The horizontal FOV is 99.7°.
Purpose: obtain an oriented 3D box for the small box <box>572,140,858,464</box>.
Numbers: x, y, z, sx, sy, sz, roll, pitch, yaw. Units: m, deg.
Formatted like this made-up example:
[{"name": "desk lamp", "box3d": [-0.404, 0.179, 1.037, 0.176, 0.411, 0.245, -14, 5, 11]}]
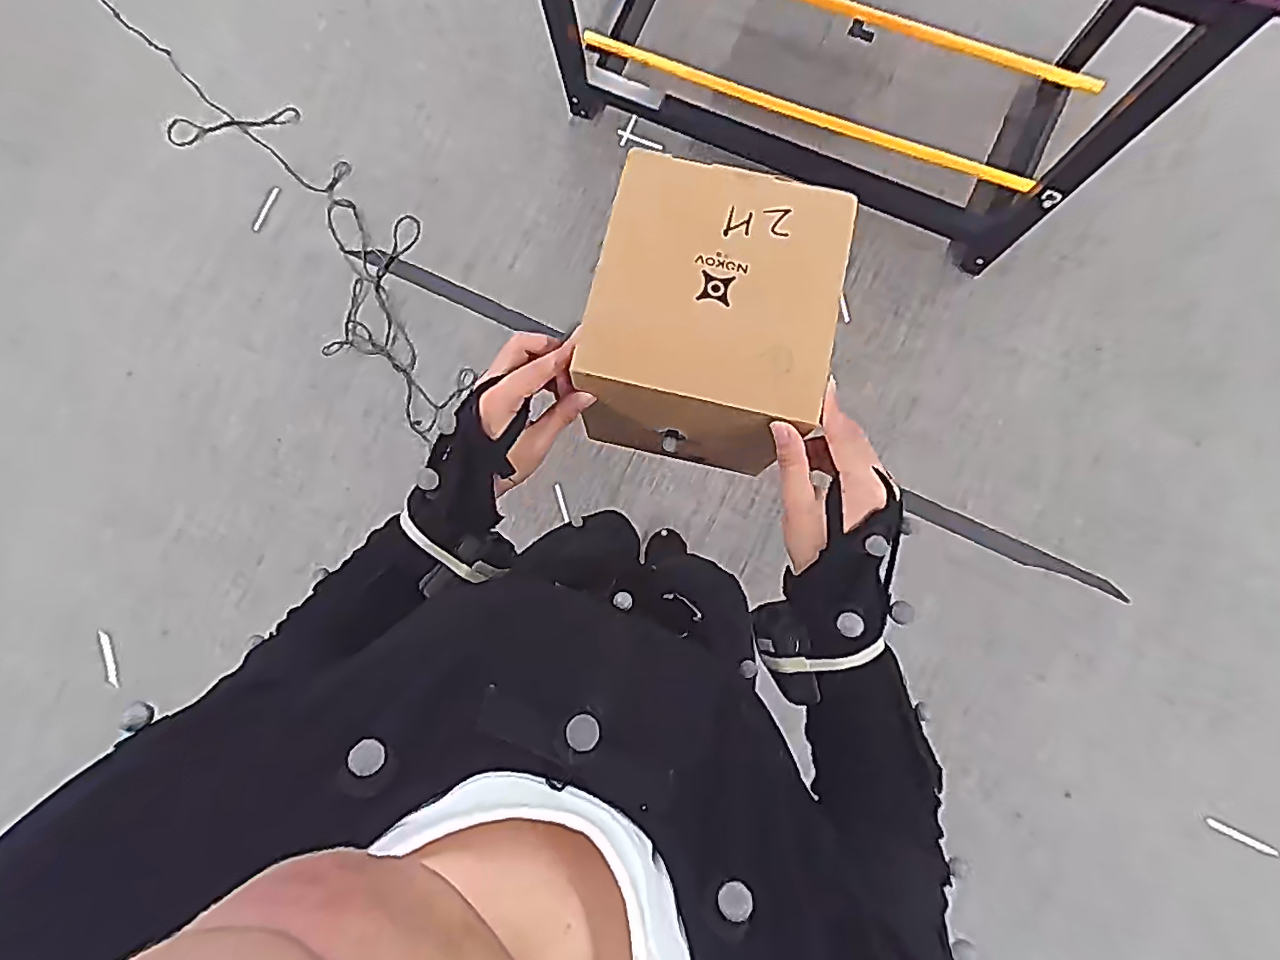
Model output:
[{"name": "small box", "box3d": [0.052, -0.123, 0.439, 0.168, 0.176, 0.179, 13, 78, 1]}]
